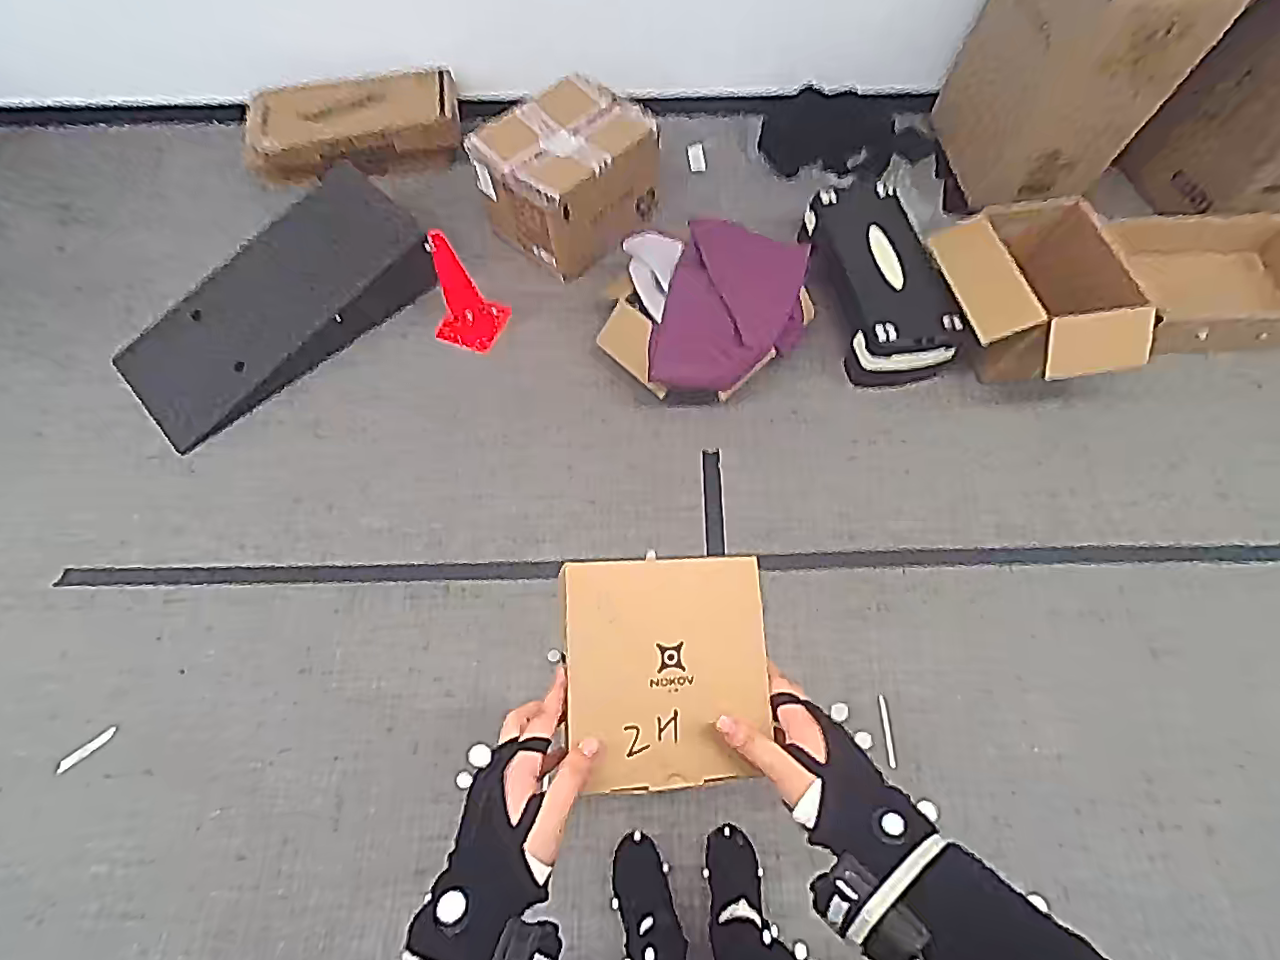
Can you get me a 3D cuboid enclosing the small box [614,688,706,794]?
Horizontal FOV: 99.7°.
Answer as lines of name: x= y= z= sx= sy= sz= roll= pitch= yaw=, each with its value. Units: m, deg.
small box: x=0.039 y=0.501 z=1.052 sx=0.168 sy=0.176 sz=0.179 roll=-1 pitch=65 yaw=1
